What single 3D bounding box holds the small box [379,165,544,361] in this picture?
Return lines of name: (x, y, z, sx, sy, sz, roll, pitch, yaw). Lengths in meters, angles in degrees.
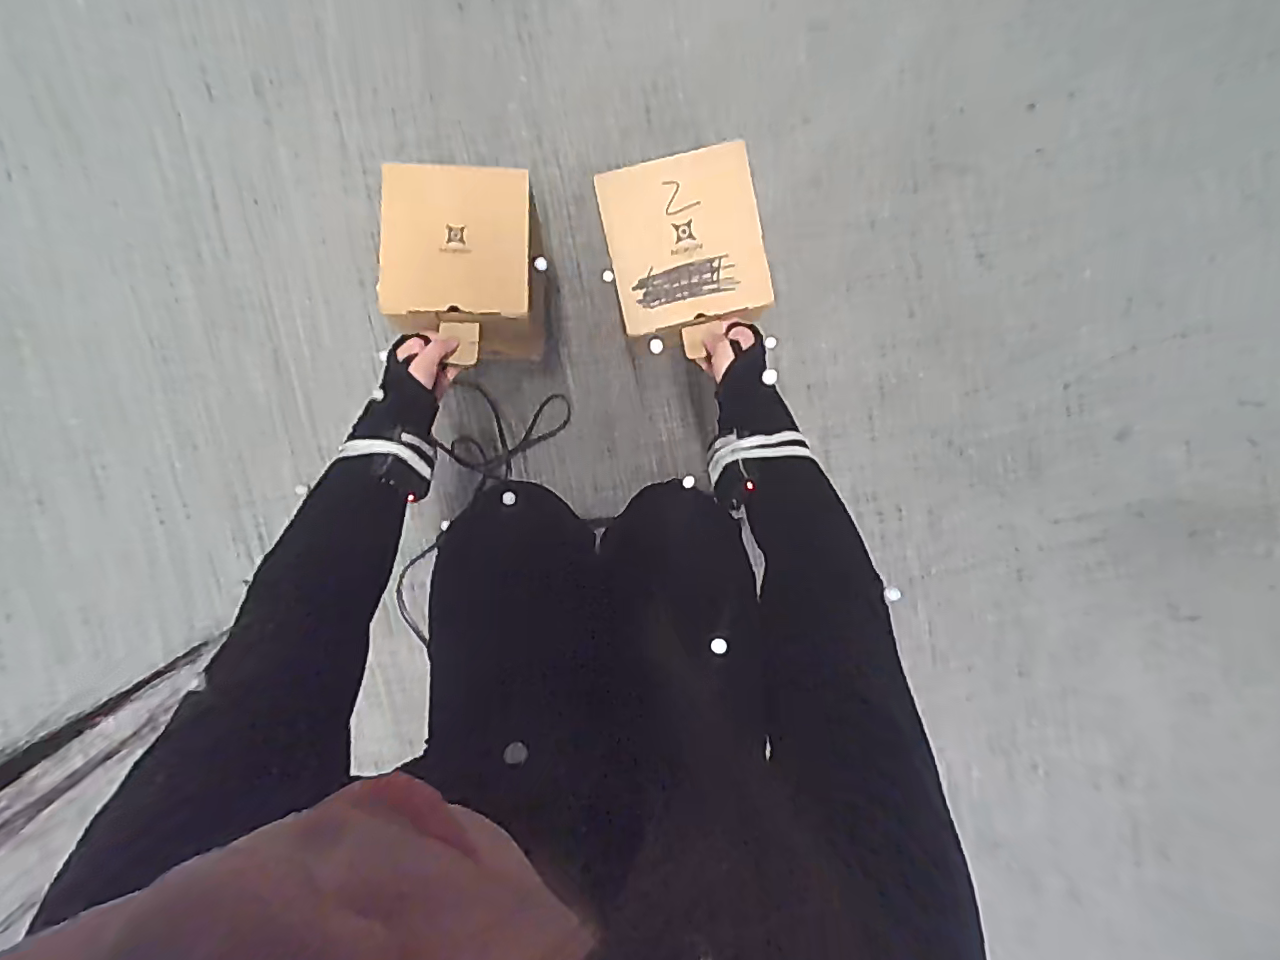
small box: (-0.215, -0.264, 0.692, 0.168, 0.176, 0.179, 1, 87, -5)
